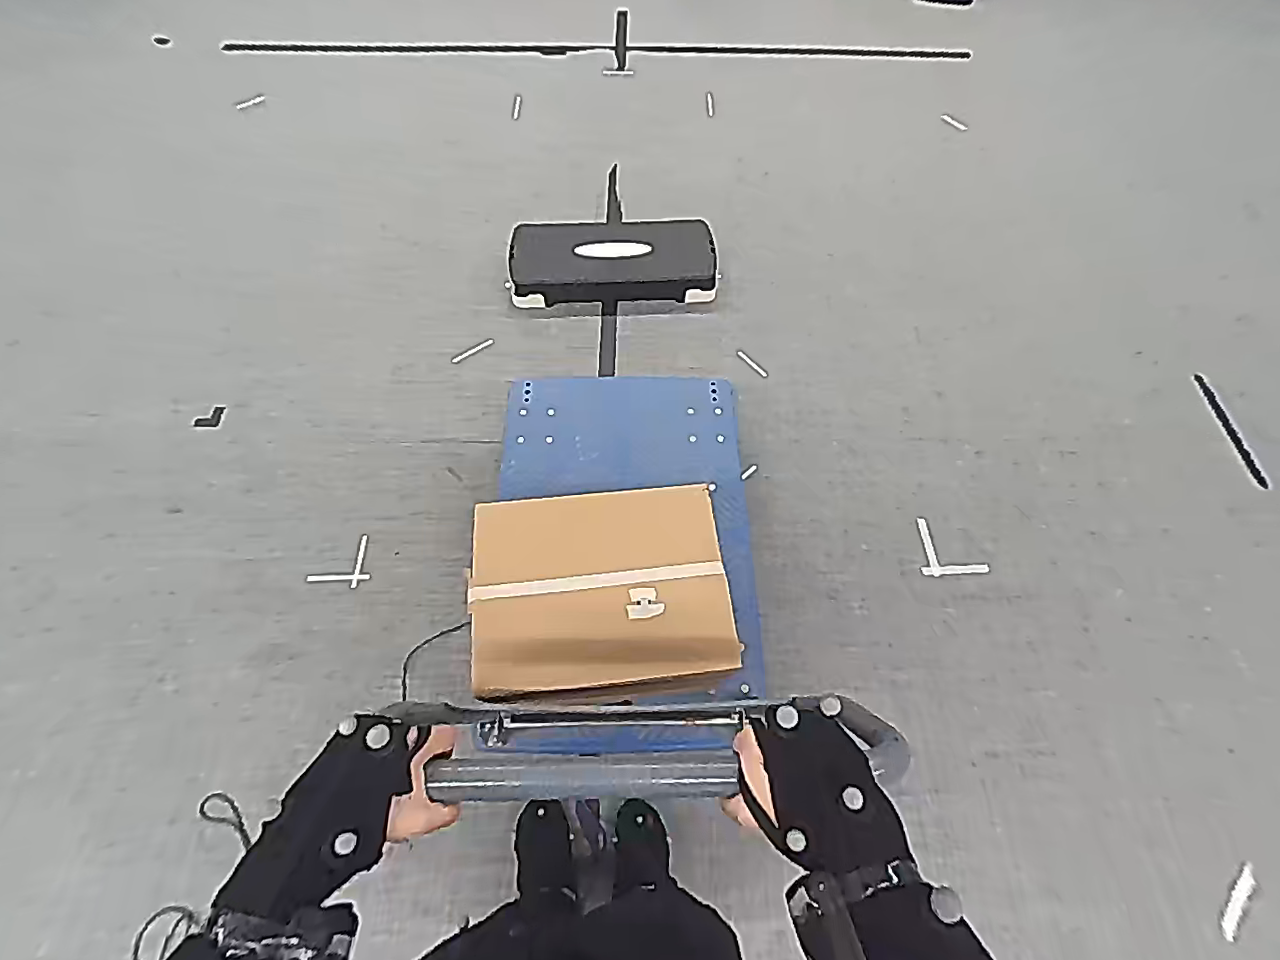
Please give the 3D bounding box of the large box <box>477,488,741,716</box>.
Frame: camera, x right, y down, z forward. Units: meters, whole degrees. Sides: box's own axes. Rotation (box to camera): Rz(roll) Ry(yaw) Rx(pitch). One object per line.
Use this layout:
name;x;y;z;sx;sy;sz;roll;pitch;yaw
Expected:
large box;-0.067;0.236;1.001;0.408;0.320;0.320;-5;64;-5
